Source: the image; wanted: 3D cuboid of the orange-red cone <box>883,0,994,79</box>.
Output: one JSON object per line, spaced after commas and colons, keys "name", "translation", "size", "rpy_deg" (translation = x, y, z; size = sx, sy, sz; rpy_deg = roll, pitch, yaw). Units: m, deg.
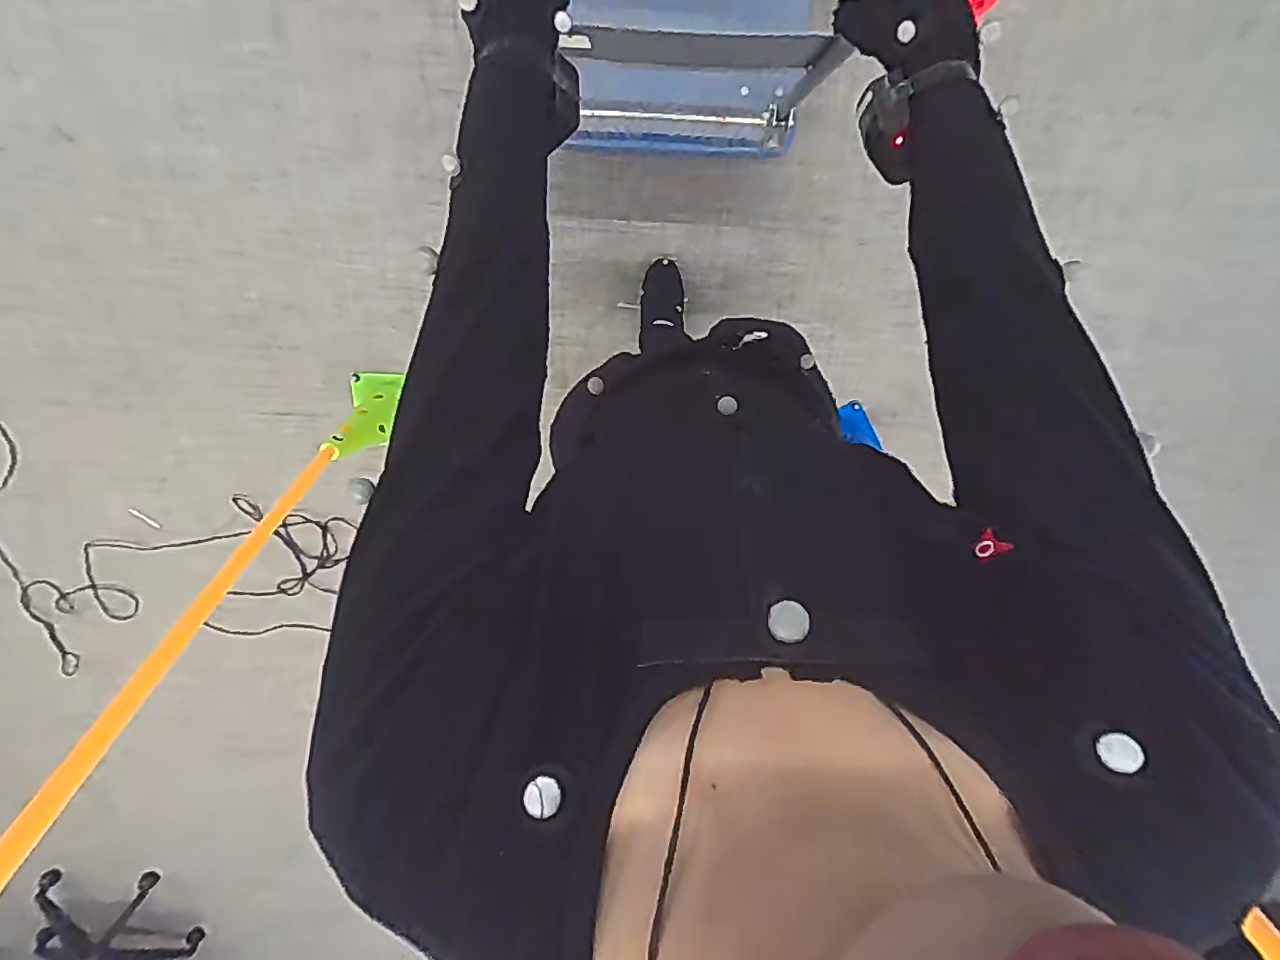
{"name": "orange-red cone", "translation": [0.652, -0.945, 1.016], "size": [0.198, 0.360, 0.199], "rpy_deg": [14, 111, -6]}
